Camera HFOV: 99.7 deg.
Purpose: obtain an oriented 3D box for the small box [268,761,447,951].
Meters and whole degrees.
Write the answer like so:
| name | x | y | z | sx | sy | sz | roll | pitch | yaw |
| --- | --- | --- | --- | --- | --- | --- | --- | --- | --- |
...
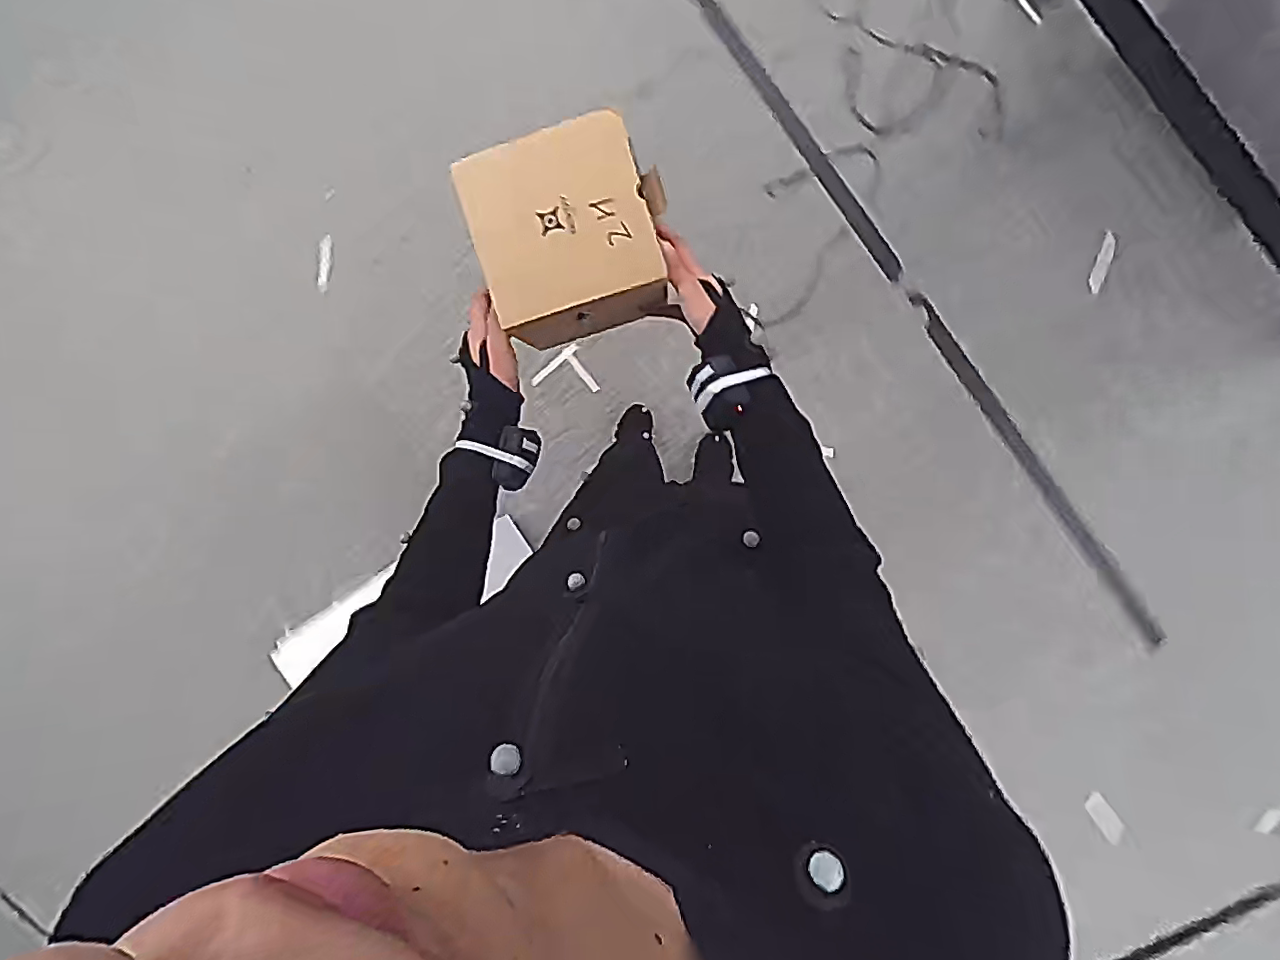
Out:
| name | x | y | z | sx | sy | sz | roll | pitch | yaw |
| --- | --- | --- | --- | --- | --- | --- | --- | --- | --- |
| small box | -0.452 | 0.611 | 0.902 | 0.179 | 0.176 | 0.168 | -31 | 92 | 10 |

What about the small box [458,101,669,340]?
| name | x | y | z | sx | sy | sz | roll | pitch | yaw |
| --- | --- | --- | --- | --- | --- | --- | --- | --- | --- |
| small box | -0.069 | -0.265 | 0.598 | 0.179 | 0.176 | 0.168 | -15 | 96 | 4 |
